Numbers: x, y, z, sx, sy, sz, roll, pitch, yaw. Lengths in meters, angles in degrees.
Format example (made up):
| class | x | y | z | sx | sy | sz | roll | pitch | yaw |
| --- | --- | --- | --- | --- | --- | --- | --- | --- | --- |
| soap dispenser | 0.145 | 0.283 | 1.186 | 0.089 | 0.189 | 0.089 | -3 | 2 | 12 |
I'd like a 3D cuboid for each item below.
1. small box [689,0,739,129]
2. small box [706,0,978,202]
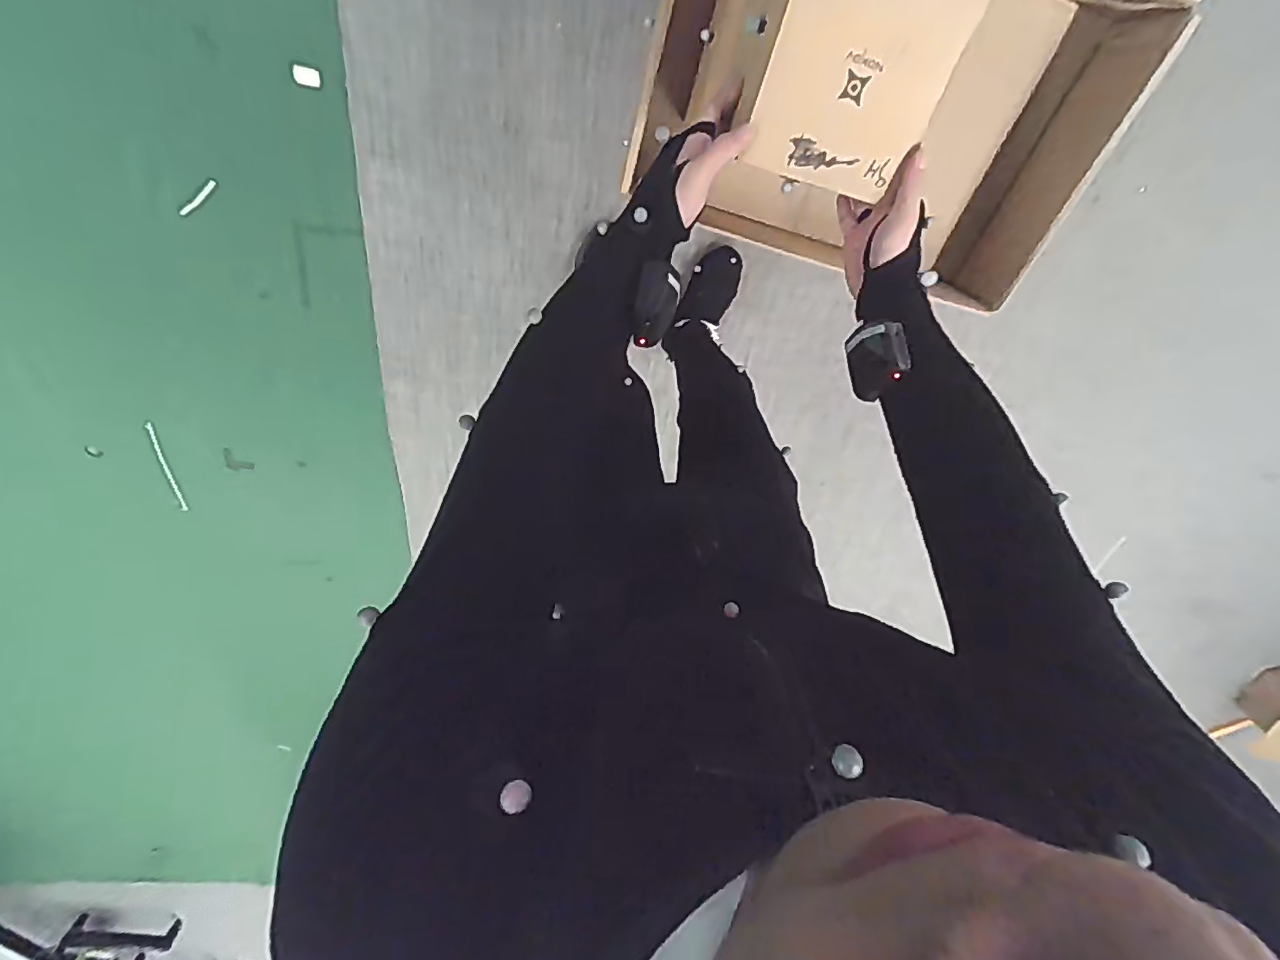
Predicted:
| class | x | y | z | sx | sy | sz | roll | pitch | yaw |
| --- | --- | --- | --- | --- | --- | --- | --- | --- | --- |
| small box | 0.166 | -0.534 | 0.686 | 0.168 | 0.176 | 0.179 | 11 | 126 | -10 |
| small box | 0.175 | -0.402 | 0.530 | 0.168 | 0.176 | 0.179 | 10 | 126 | -12 |
